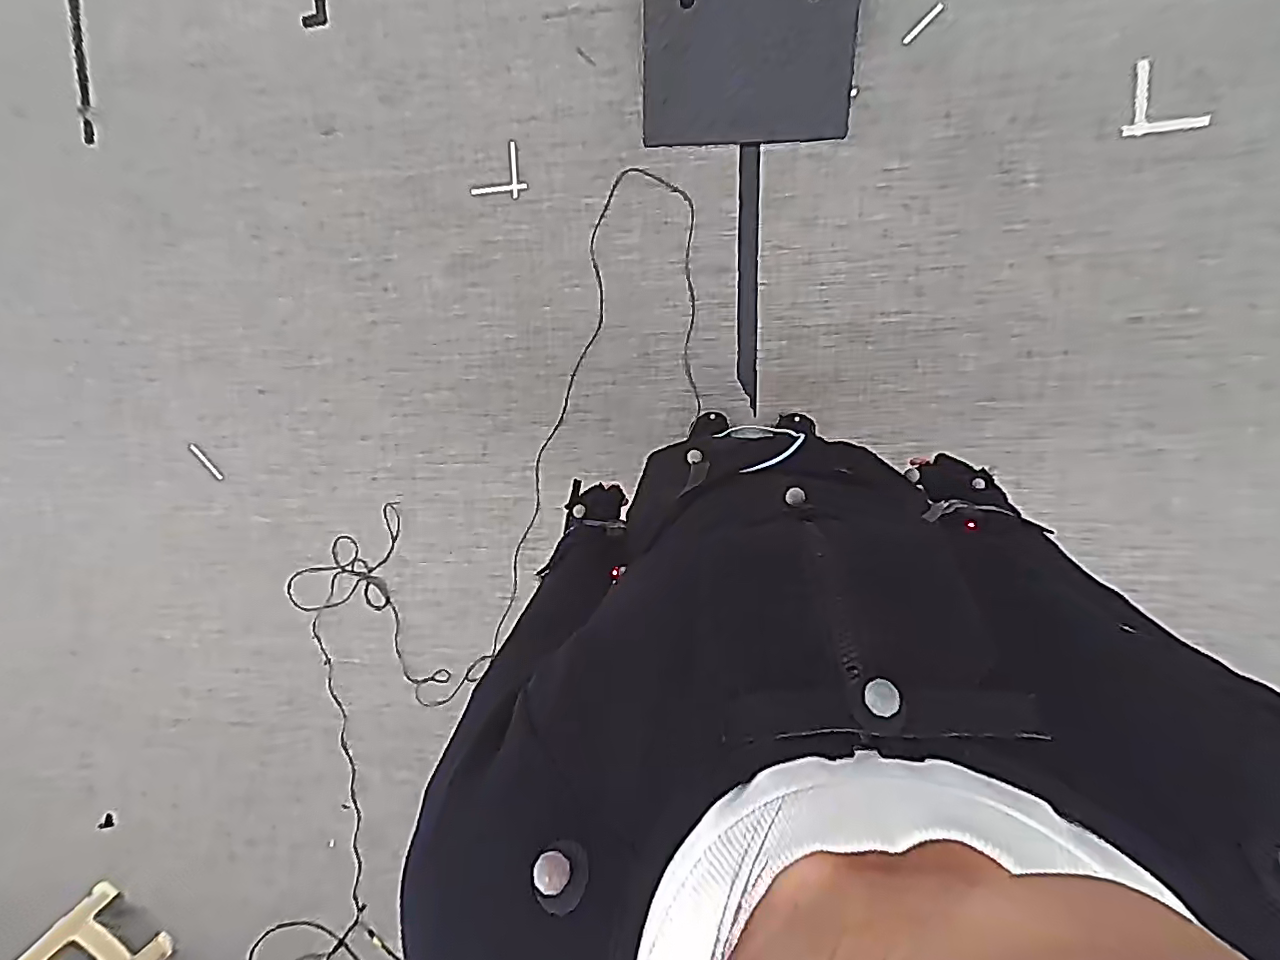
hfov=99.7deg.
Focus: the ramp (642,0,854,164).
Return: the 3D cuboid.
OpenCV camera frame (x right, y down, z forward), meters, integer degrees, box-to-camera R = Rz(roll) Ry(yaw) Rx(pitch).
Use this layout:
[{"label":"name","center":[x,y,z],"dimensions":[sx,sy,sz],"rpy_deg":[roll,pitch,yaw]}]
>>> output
[{"label":"ramp","center":[0.243,-1.285,1.213],"dimensions":[0.509,0.206,0.991],"rpy_deg":[-1,97,7]}]
